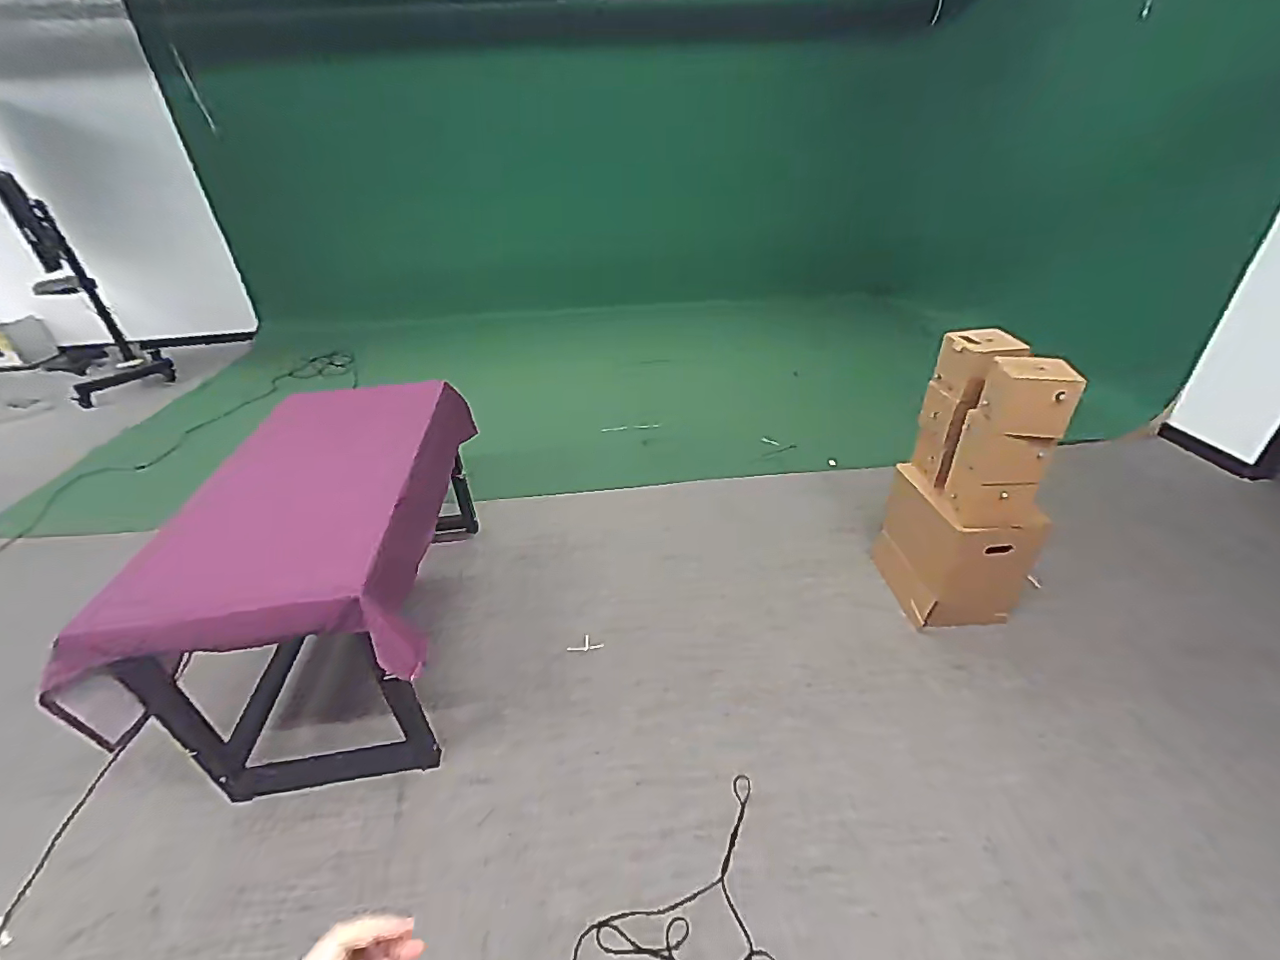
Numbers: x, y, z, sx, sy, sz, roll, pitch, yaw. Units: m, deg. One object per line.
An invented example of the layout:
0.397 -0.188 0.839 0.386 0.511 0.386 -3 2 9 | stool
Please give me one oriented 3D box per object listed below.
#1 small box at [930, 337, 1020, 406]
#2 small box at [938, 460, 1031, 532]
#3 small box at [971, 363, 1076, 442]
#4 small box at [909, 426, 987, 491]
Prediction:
1.056 -0.344 1.728 0.179 0.176 0.168 -5 35 -4 | small box
1.081 0.052 1.713 0.179 0.176 0.168 -2 32 3 | small box
1.068 -0.217 1.523 0.179 0.176 0.168 5 33 13 | small box
1.078 -0.073 1.912 0.179 0.176 0.168 -5 35 -2 | small box
